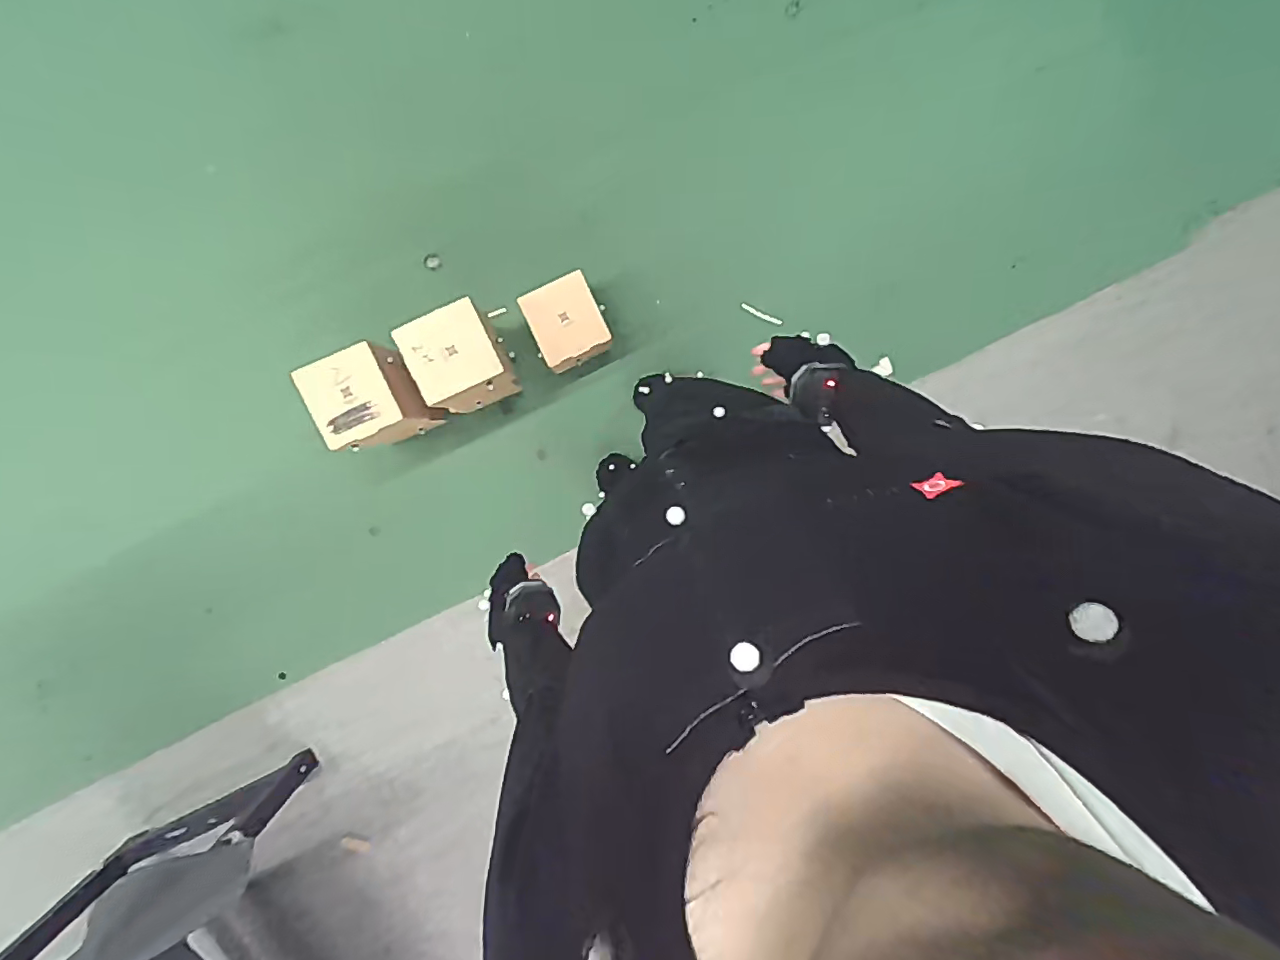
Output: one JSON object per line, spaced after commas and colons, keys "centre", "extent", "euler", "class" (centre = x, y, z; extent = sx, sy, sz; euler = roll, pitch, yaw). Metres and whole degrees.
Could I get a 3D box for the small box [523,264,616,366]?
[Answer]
{"centre": [-0.171, -0.400, 1.342], "extent": [0.168, 0.176, 0.179], "euler": [-26, 98, 0], "class": "small box"}
